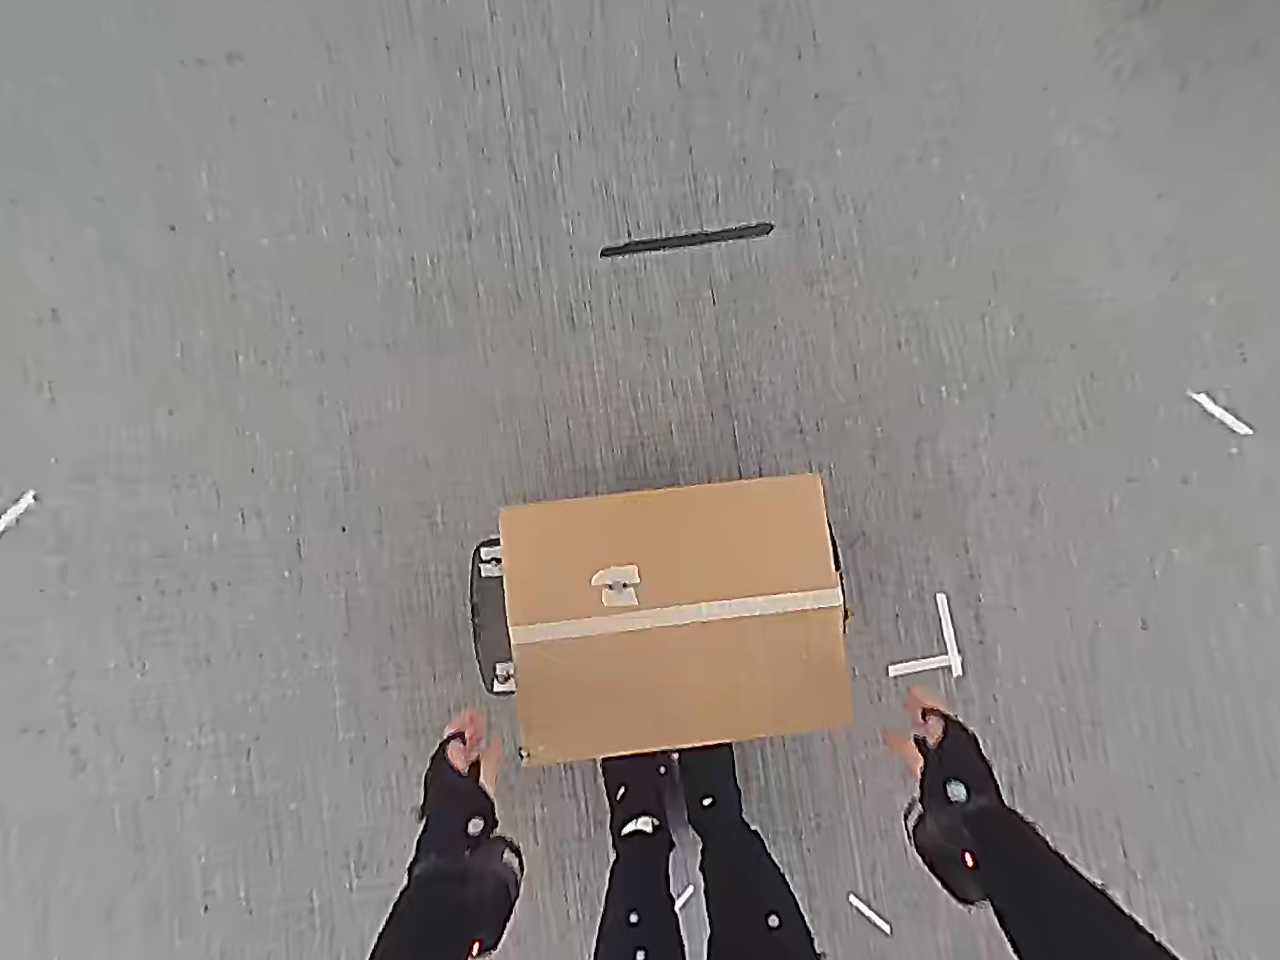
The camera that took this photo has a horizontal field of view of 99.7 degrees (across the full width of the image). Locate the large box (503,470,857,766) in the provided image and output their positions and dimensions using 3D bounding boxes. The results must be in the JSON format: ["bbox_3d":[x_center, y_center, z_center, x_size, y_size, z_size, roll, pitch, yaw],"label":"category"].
[{"bbox_3d":[0.047,0.175,0.802,0.408,0.320,0.320,-7,84,0],"label":"large box"}]

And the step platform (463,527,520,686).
[{"bbox_3d":[0.019,0.226,1.036,0.684,0.204,0.286,-2,85,0],"label":"step platform"}]
